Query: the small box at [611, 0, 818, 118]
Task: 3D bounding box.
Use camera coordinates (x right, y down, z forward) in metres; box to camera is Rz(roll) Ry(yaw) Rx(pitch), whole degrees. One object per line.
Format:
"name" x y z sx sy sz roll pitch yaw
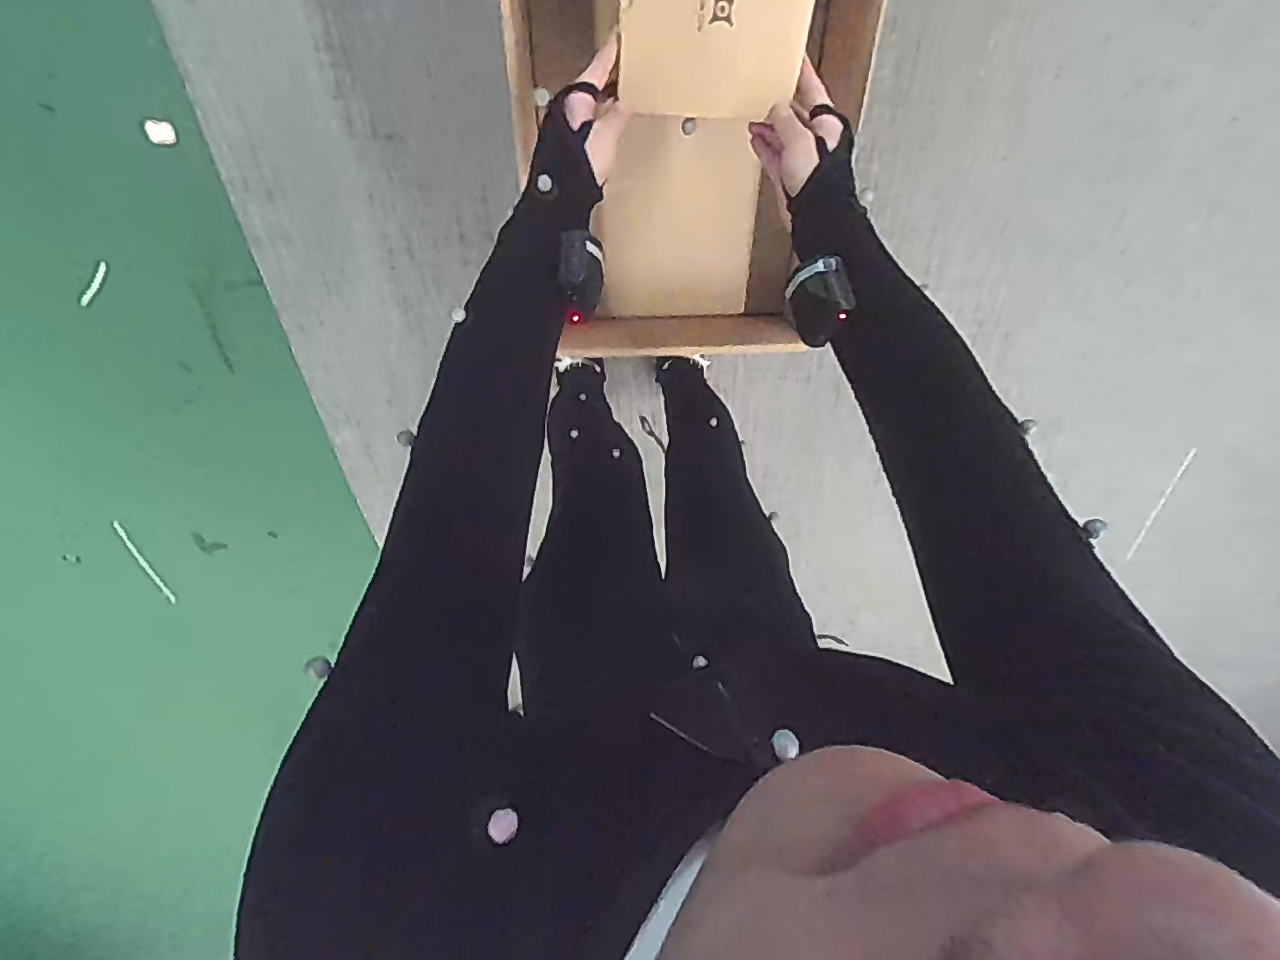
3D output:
"small box" 0.065 -0.474 0.534 0.179 0.176 0.168 0 131 -6
